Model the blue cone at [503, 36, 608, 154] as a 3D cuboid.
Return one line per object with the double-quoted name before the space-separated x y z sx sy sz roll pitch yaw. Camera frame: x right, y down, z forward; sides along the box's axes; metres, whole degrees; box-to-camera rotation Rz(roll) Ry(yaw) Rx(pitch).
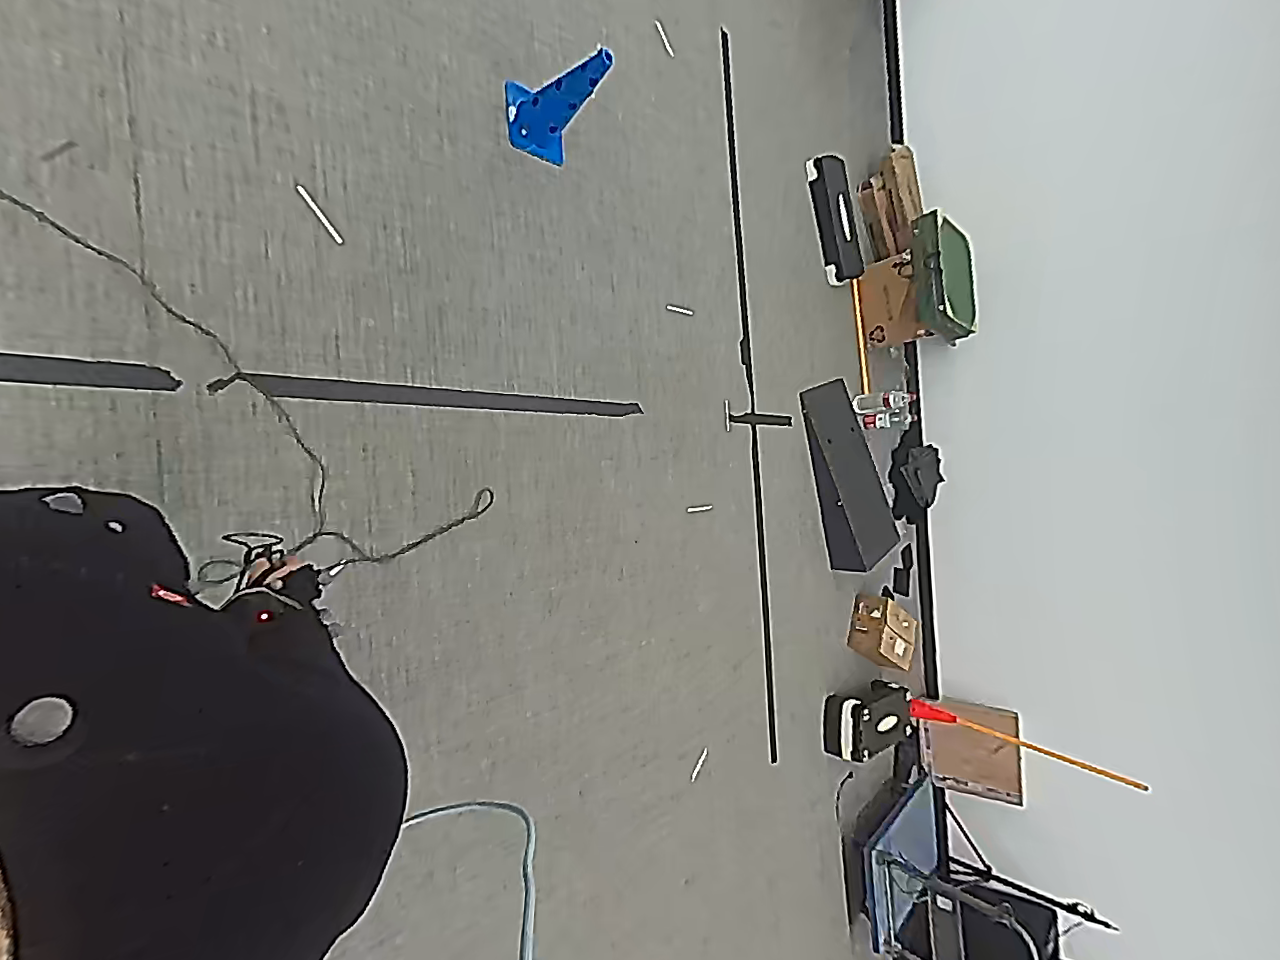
"blue cone" -0.223 -1.137 1.566 0.193 0.380 0.192 -3 89 -44
